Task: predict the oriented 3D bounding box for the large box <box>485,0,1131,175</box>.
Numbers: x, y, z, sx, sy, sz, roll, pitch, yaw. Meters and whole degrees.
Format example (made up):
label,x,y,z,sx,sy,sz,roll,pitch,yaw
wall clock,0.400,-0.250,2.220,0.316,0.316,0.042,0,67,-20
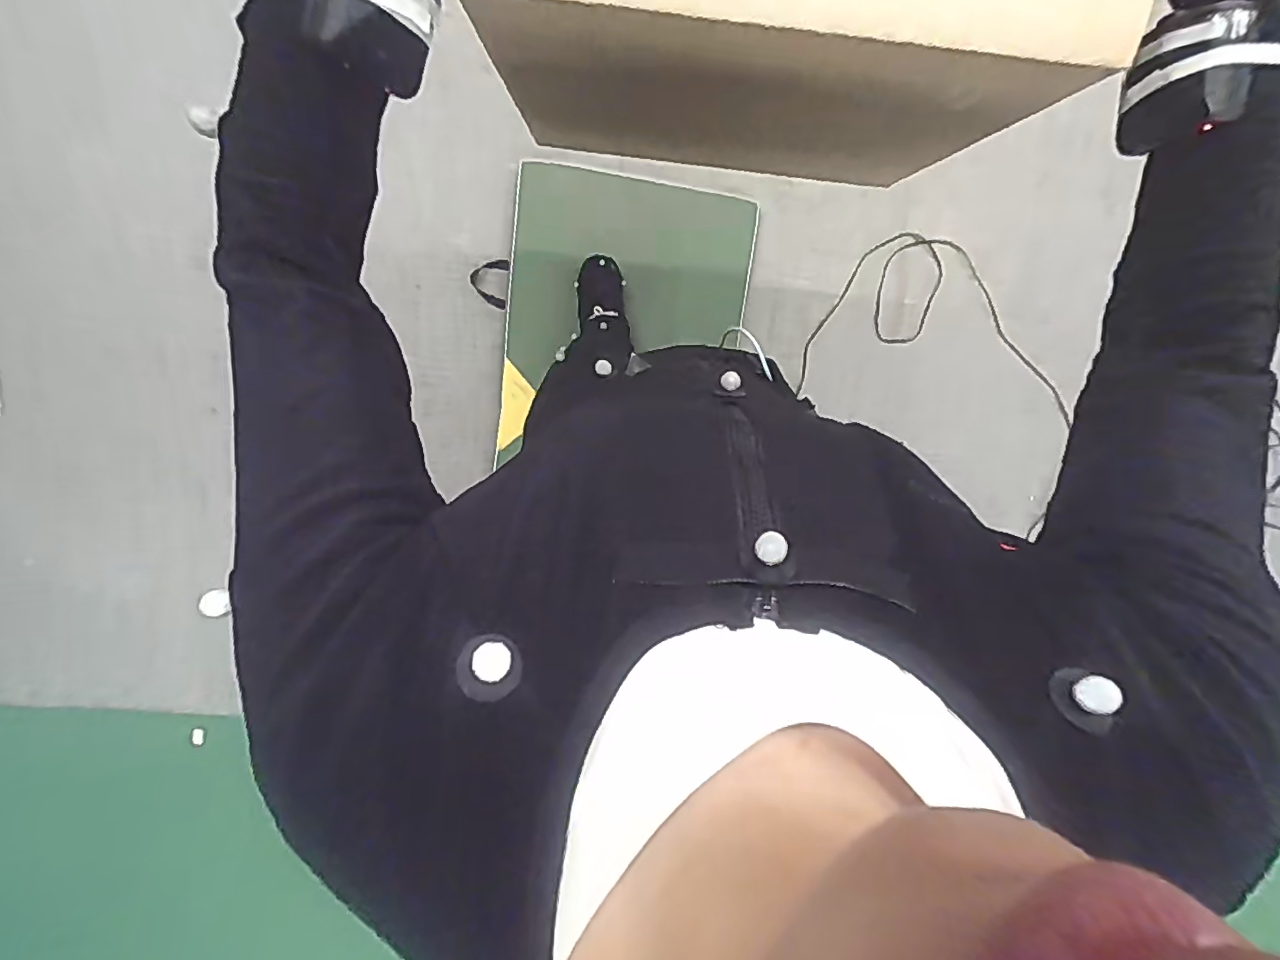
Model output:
label,x,y,z,sx,sy,sz,roll,pitch,yaw
large box,0.102,-0.463,0.424,0.408,0.320,0.320,4,107,-4
